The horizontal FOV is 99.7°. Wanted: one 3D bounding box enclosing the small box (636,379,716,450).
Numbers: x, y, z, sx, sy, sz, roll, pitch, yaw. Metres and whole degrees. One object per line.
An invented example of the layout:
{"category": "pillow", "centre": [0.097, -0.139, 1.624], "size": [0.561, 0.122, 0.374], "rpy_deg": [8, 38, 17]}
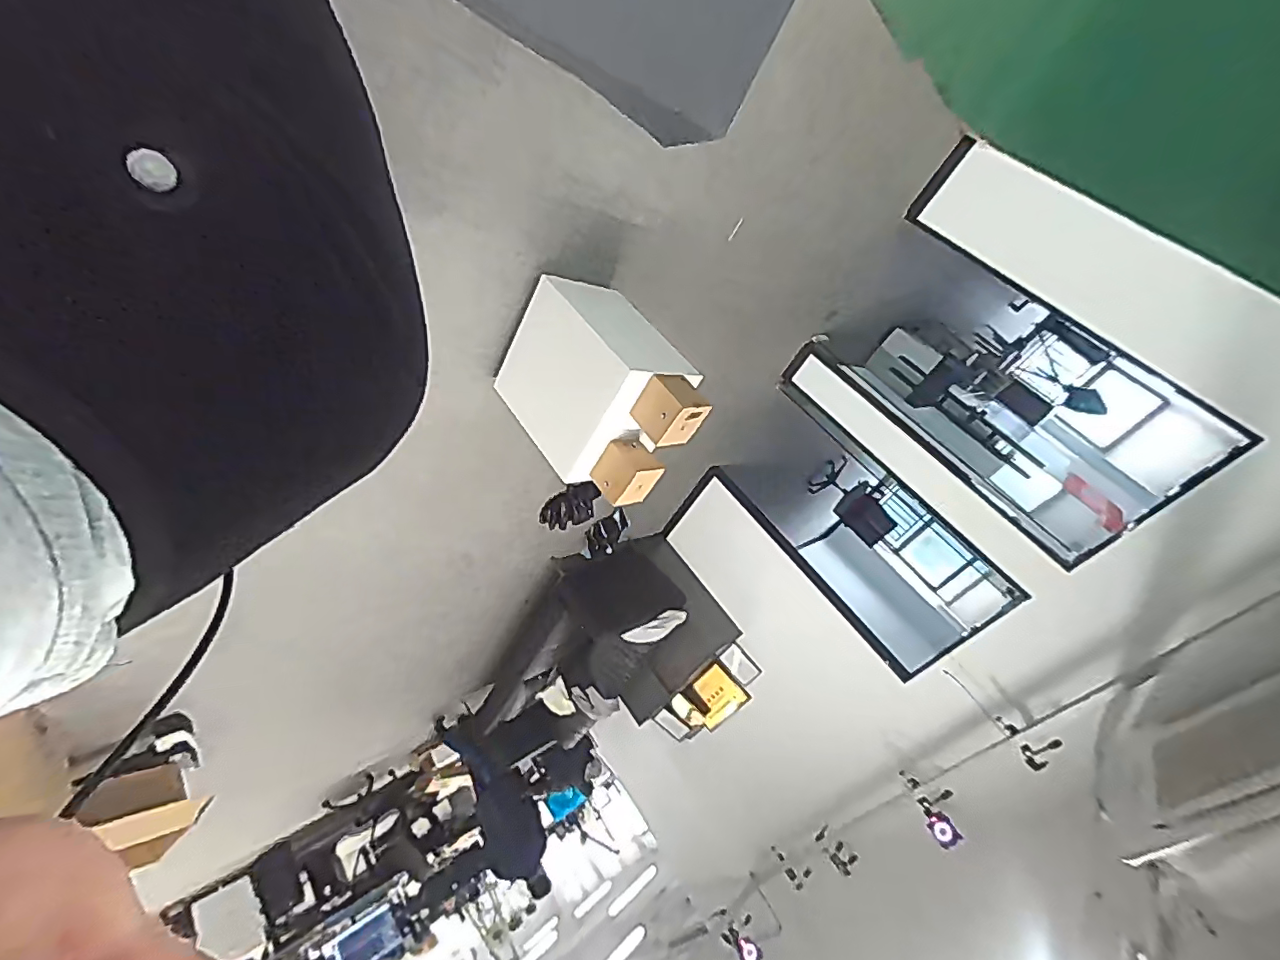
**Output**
{"category": "small box", "centre": [0.115, -0.224, 1.828], "size": [0.168, 0.176, 0.179], "rpy_deg": [-10, 144, -47]}

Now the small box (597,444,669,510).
{"category": "small box", "centre": [-0.033, -0.014, 1.980], "size": [0.168, 0.176, 0.179], "rpy_deg": [-8, 139, -50]}
